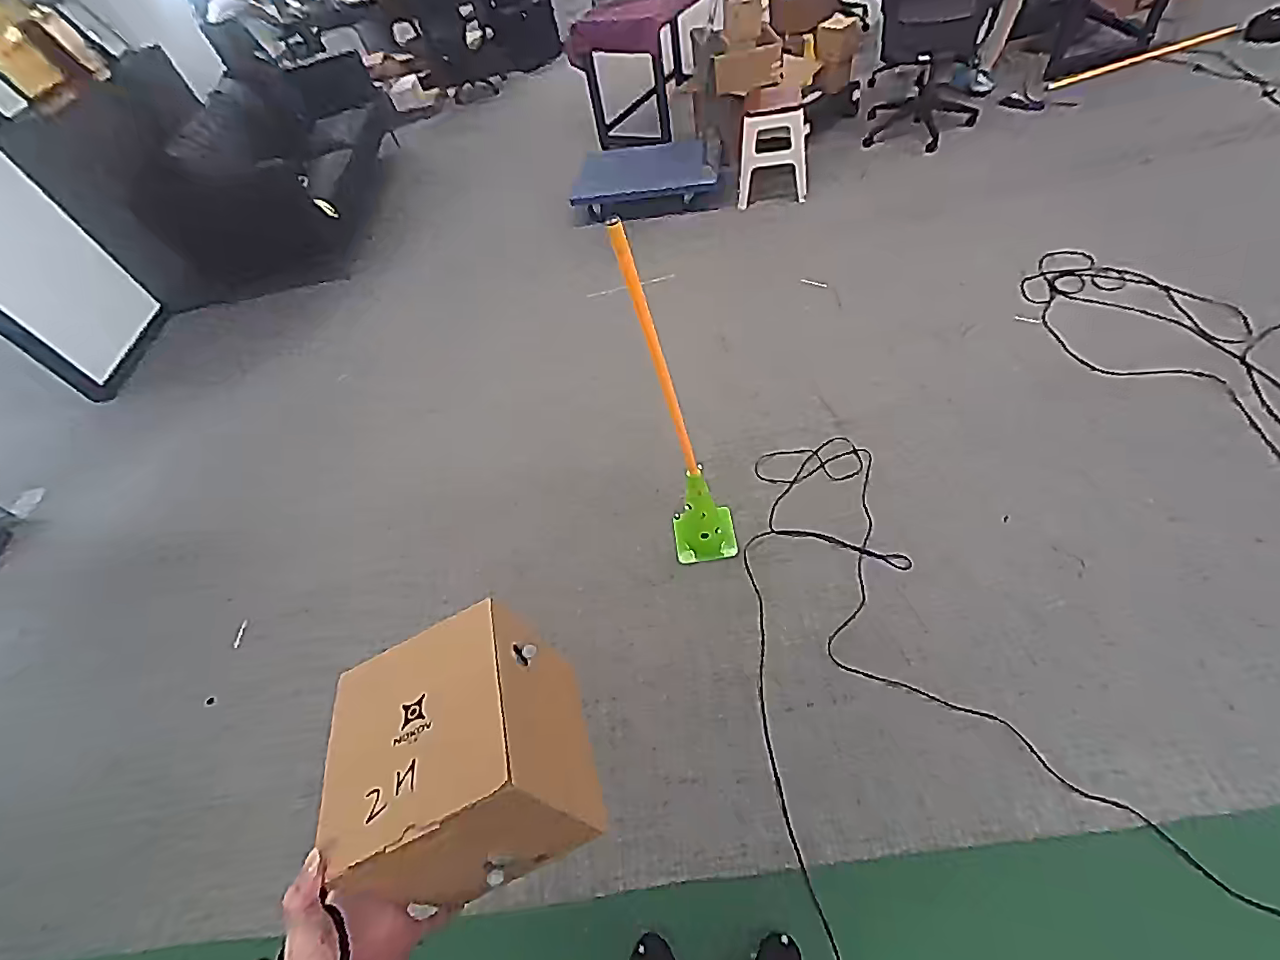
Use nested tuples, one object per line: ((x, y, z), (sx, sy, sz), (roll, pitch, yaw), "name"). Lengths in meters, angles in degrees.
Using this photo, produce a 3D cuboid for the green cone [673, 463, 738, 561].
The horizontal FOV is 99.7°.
((0.189, 0.076, 1.689), (0.202, 0.368, 0.200), (-9, 52, 4), "green cone")
